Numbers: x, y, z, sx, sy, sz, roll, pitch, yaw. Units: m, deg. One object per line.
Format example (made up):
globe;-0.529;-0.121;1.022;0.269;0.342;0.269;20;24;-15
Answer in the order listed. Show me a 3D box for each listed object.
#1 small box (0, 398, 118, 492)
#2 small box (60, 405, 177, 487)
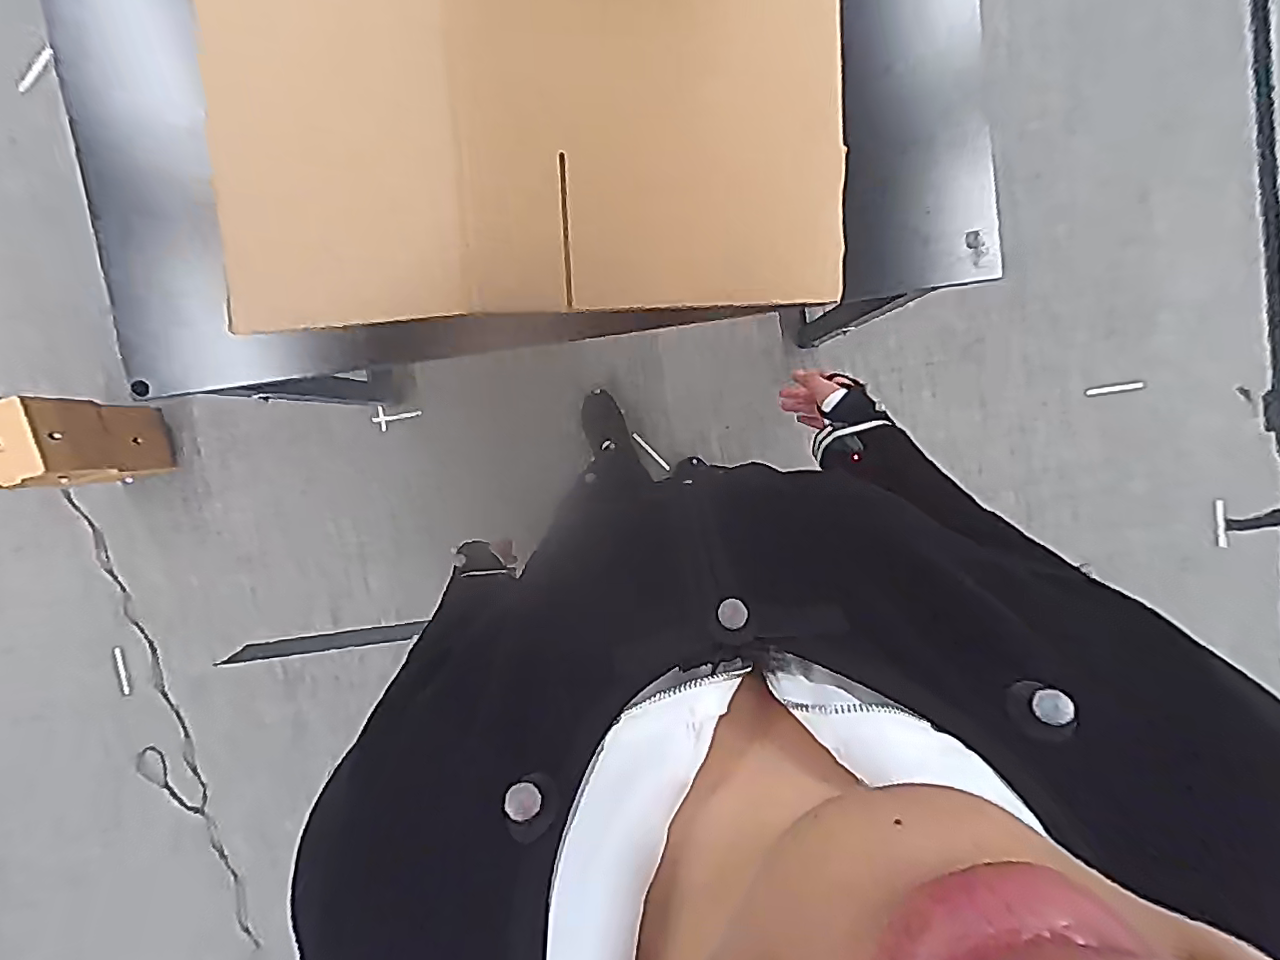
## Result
small box;-1.366;-0.081;1.240;0.168;0.176;0.179;-15;94;1
small box;-1.365;-0.089;1.403;0.168;0.176;0.179;-12;96;1
